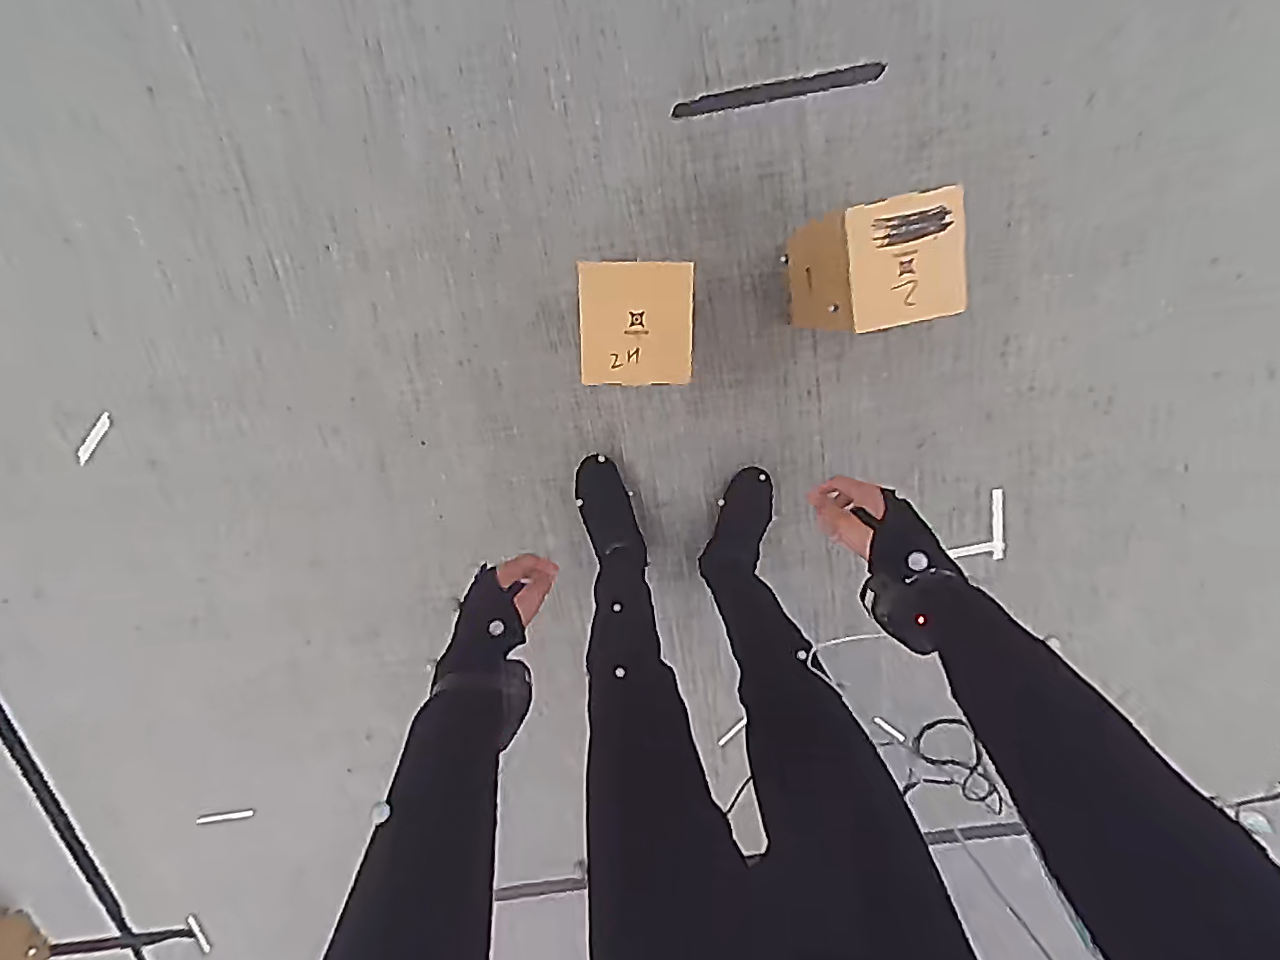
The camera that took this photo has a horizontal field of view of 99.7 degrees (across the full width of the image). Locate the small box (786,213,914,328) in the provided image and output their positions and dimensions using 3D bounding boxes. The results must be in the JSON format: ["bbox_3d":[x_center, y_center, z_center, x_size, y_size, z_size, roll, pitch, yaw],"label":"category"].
[{"bbox_3d":[0.379,-0.378,1.001,0.179,0.176,0.168,-11,107,1],"label":"small box"}]

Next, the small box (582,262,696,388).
[{"bbox_3d":[-0.004,-0.245,0.864,0.168,0.176,0.179,0,107,0],"label":"small box"}]
